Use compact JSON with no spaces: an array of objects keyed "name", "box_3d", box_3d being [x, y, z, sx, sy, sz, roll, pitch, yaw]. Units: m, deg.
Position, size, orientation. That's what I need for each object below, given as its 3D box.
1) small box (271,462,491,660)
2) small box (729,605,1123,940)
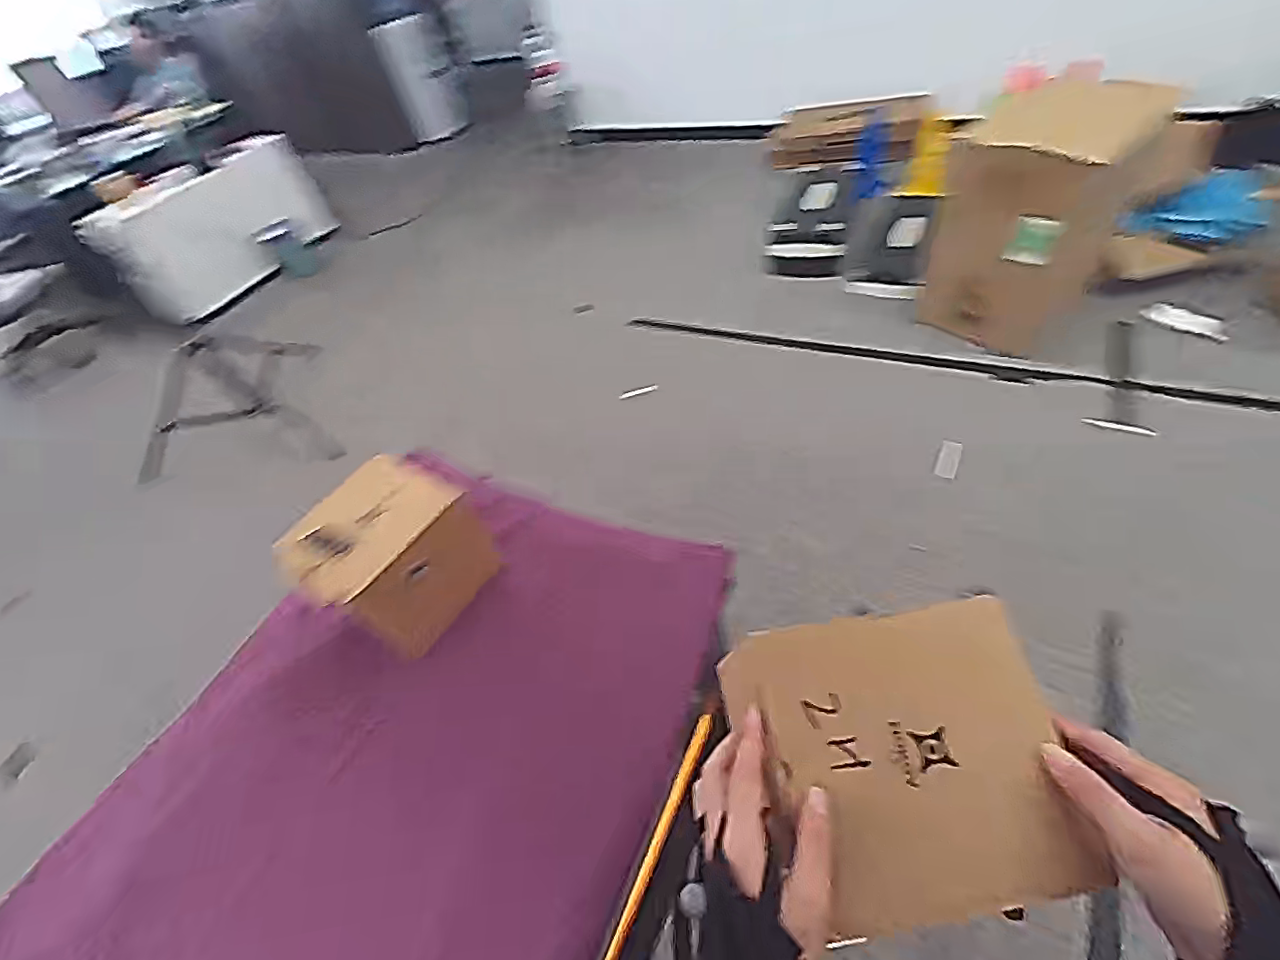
[{"name":"small box","box_3d":[-0.335,0.112,0.734,0.168,0.176,0.179,22,57,26]},{"name":"small box","box_3d":[0.176,0.200,0.401,0.179,0.176,0.168,-8,65,-2]}]
